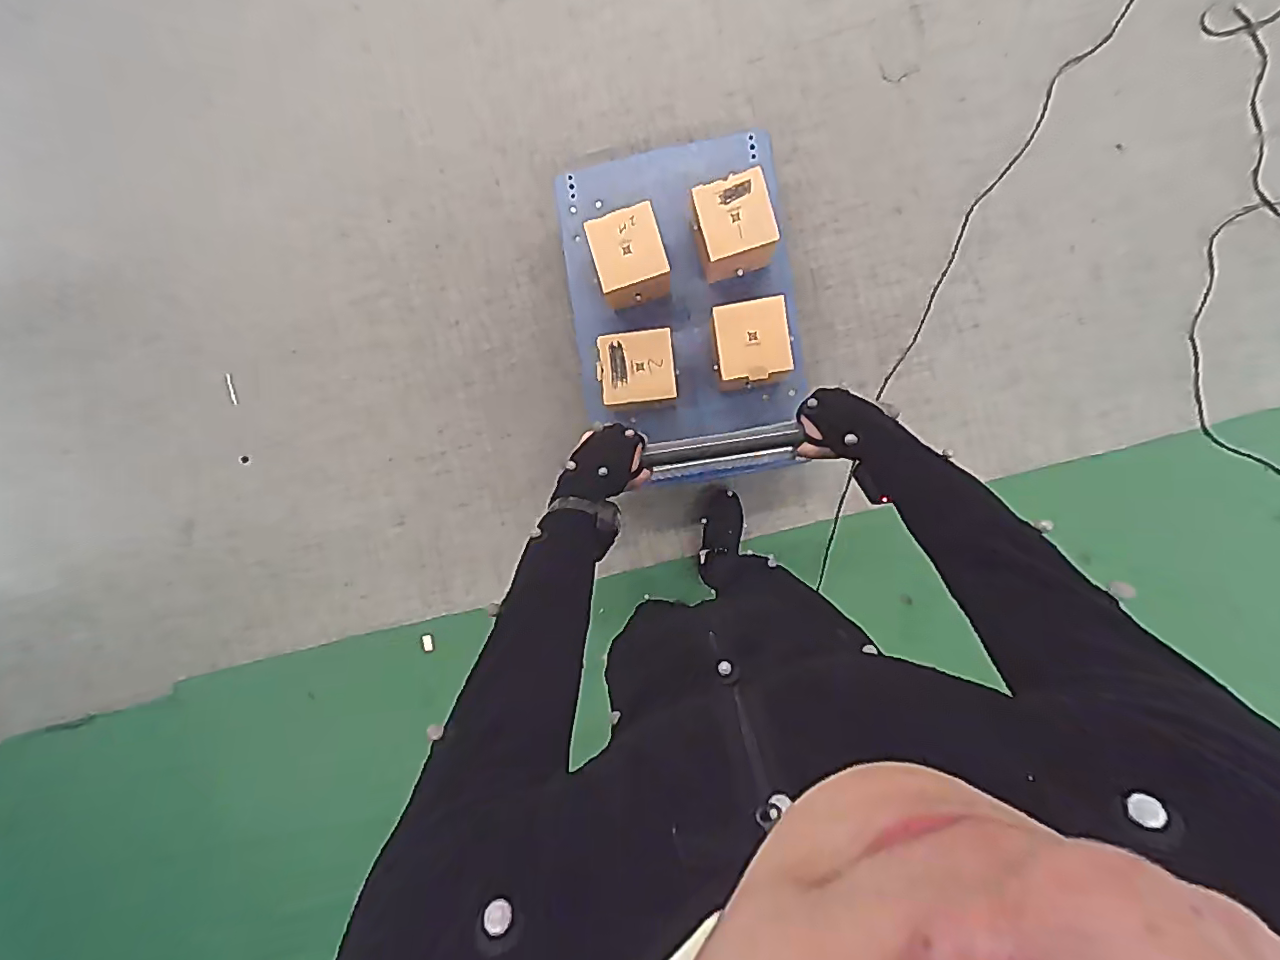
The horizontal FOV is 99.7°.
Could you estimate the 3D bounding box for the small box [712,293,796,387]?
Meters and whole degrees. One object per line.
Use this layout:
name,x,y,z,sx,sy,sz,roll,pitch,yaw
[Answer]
small box,0.271,-0.334,1.319,0.168,0.176,0.179,-9,92,5

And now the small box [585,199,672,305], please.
small box,-0.021,-0.550,1.336,0.168,0.176,0.179,-17,90,5

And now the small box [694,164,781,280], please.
small box,0.228,-0.616,1.311,0.168,0.176,0.179,-16,92,6
